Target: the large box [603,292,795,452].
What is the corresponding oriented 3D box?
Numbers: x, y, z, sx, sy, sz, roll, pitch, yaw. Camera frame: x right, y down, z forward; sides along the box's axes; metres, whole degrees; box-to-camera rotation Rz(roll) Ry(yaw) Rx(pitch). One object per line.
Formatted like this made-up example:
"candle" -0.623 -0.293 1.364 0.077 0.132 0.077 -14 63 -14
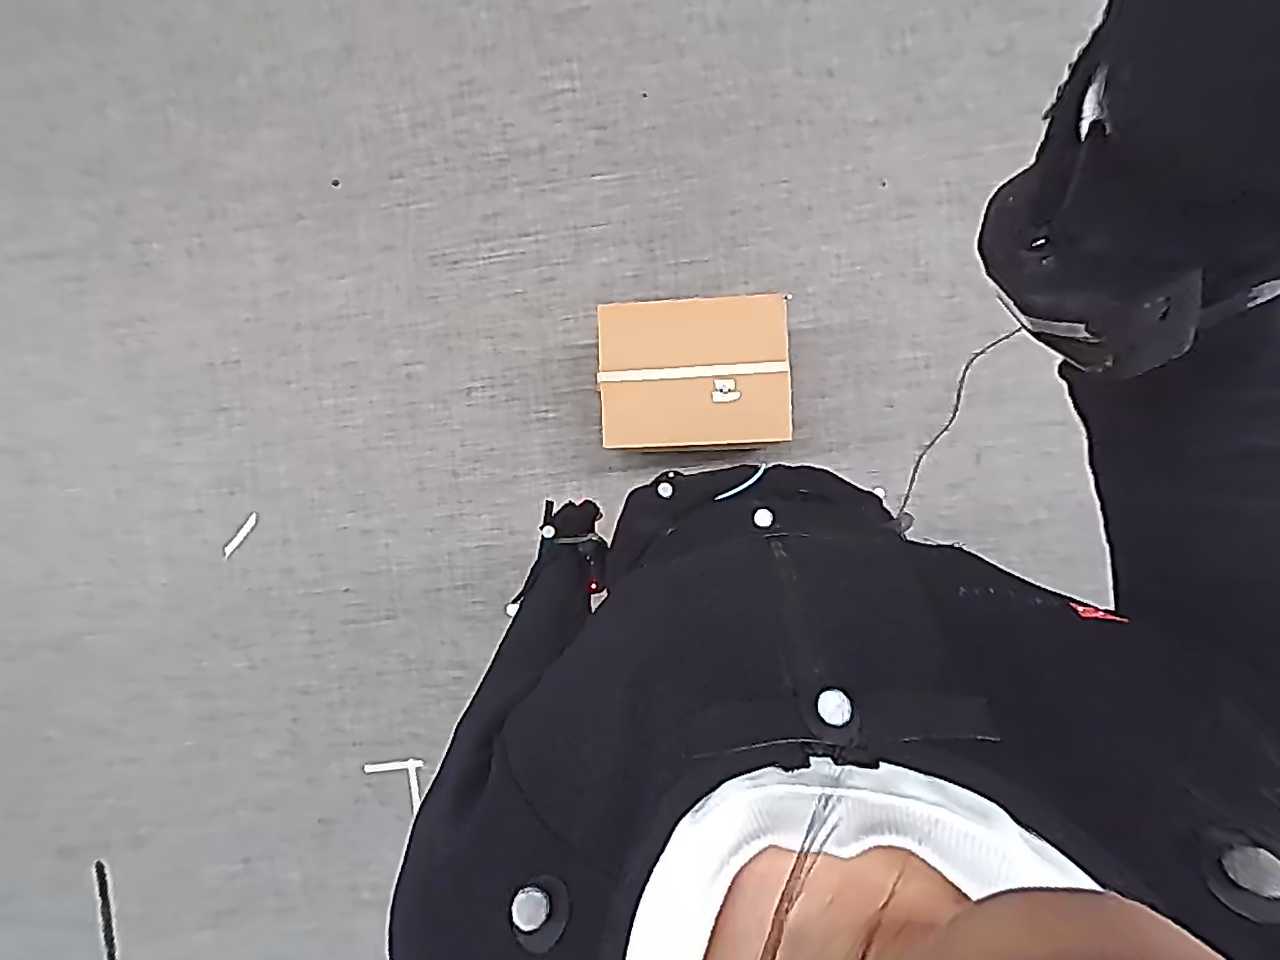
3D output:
"large box" 0.134 -0.237 1.306 0.408 0.320 0.320 -2 91 4
